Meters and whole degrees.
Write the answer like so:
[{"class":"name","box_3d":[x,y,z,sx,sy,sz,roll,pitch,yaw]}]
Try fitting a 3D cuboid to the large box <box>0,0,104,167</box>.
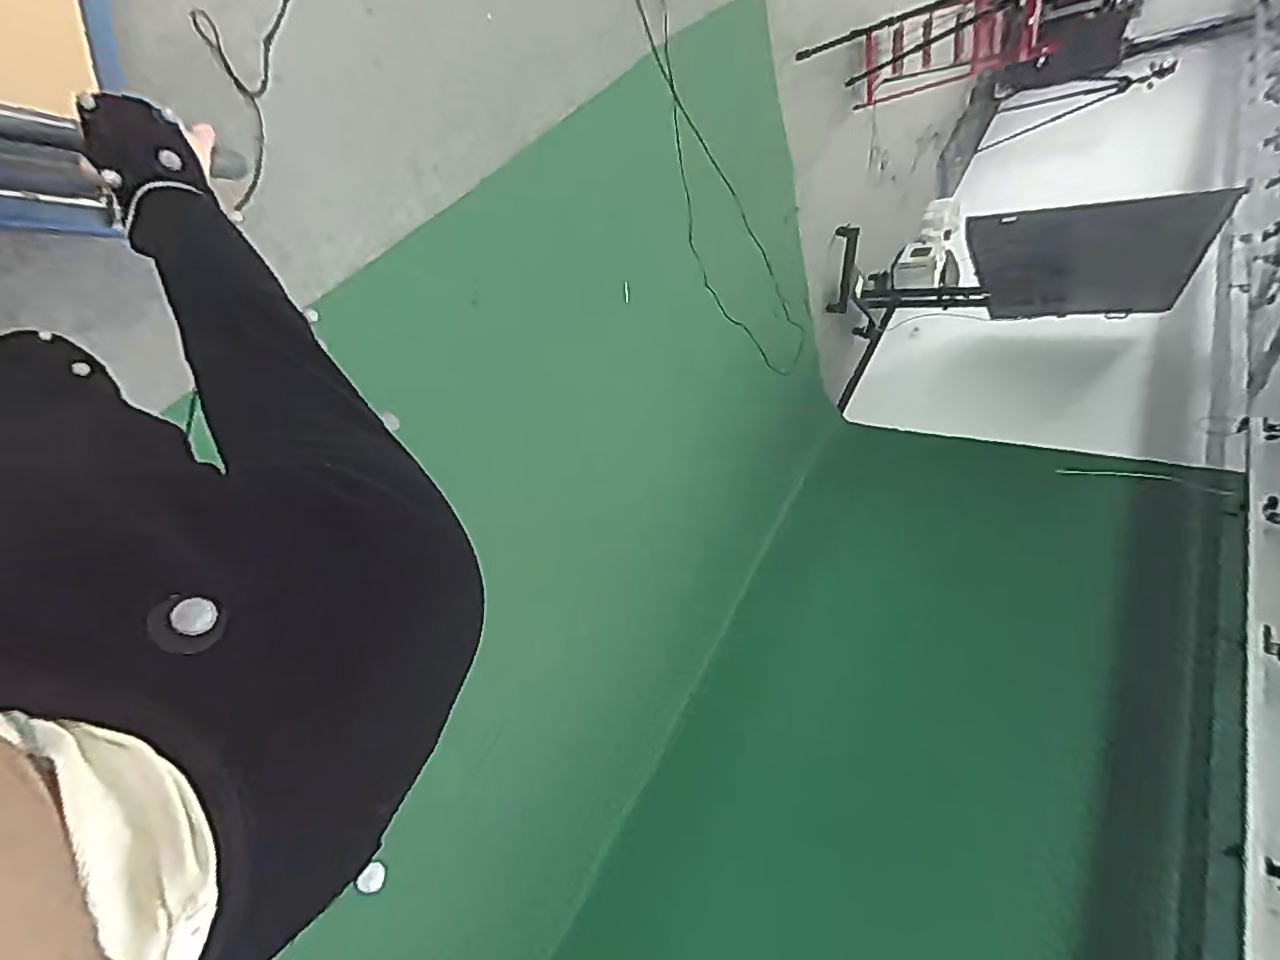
[{"class":"large box","box_3d":[-0.997,-0.689,0.714,0.320,0.320,0.408,-19,114,-49]}]
